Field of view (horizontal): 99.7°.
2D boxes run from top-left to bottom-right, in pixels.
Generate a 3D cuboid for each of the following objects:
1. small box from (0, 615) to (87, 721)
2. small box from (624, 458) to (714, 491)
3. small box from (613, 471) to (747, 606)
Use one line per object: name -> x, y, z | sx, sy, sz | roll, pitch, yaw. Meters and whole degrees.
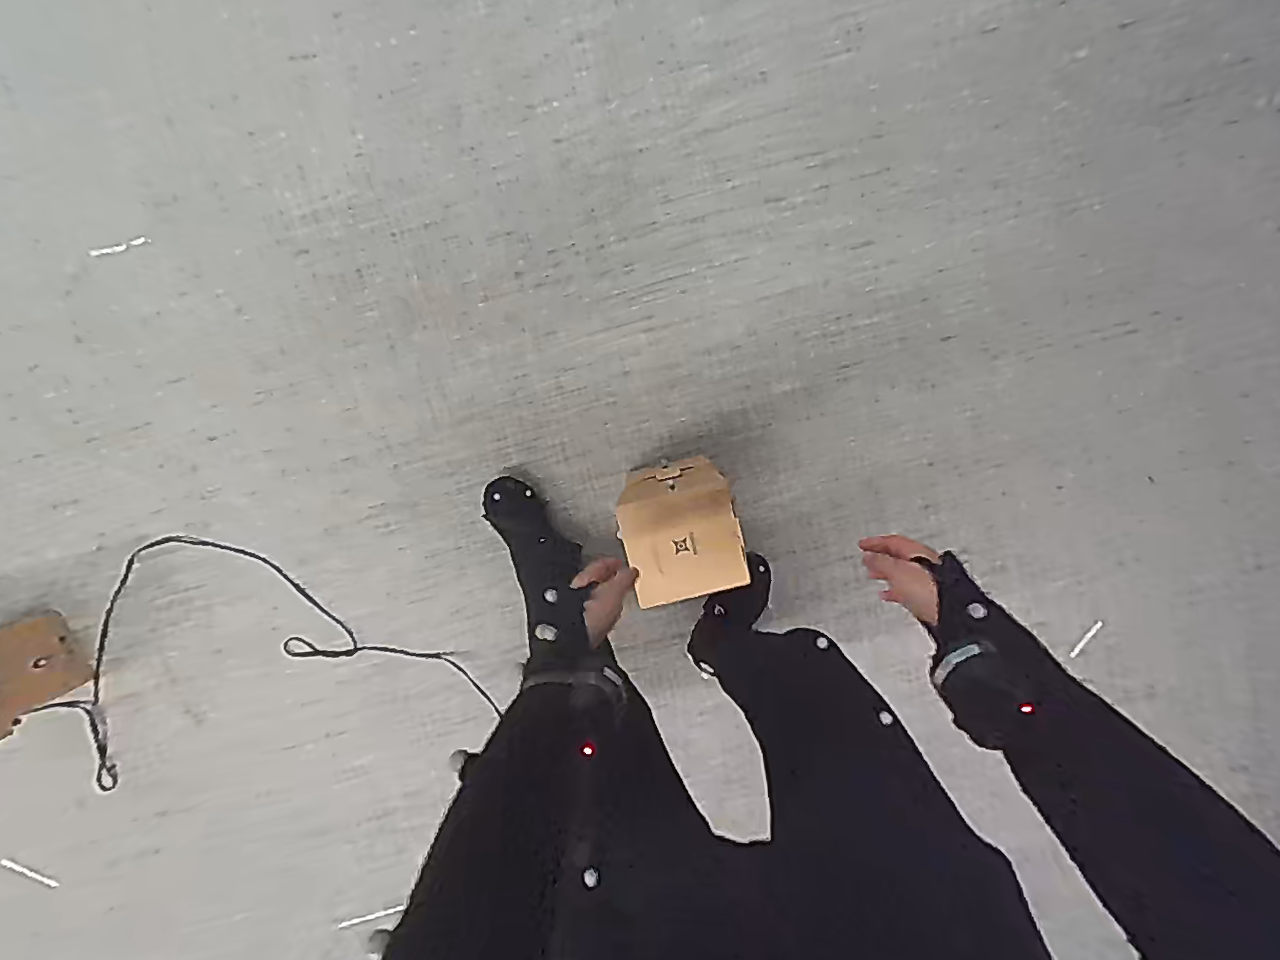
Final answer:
small box -> -1.276, 0.394, 1.077 | 0.179, 0.176, 0.168 | -23, 96, 2
small box -> 0.065, 0.058, 1.056 | 0.168, 0.176, 0.179 | -14, 97, 1
small box -> 0.060, 0.087, 0.895 | 0.179, 0.176, 0.168 | -14, 95, 2
